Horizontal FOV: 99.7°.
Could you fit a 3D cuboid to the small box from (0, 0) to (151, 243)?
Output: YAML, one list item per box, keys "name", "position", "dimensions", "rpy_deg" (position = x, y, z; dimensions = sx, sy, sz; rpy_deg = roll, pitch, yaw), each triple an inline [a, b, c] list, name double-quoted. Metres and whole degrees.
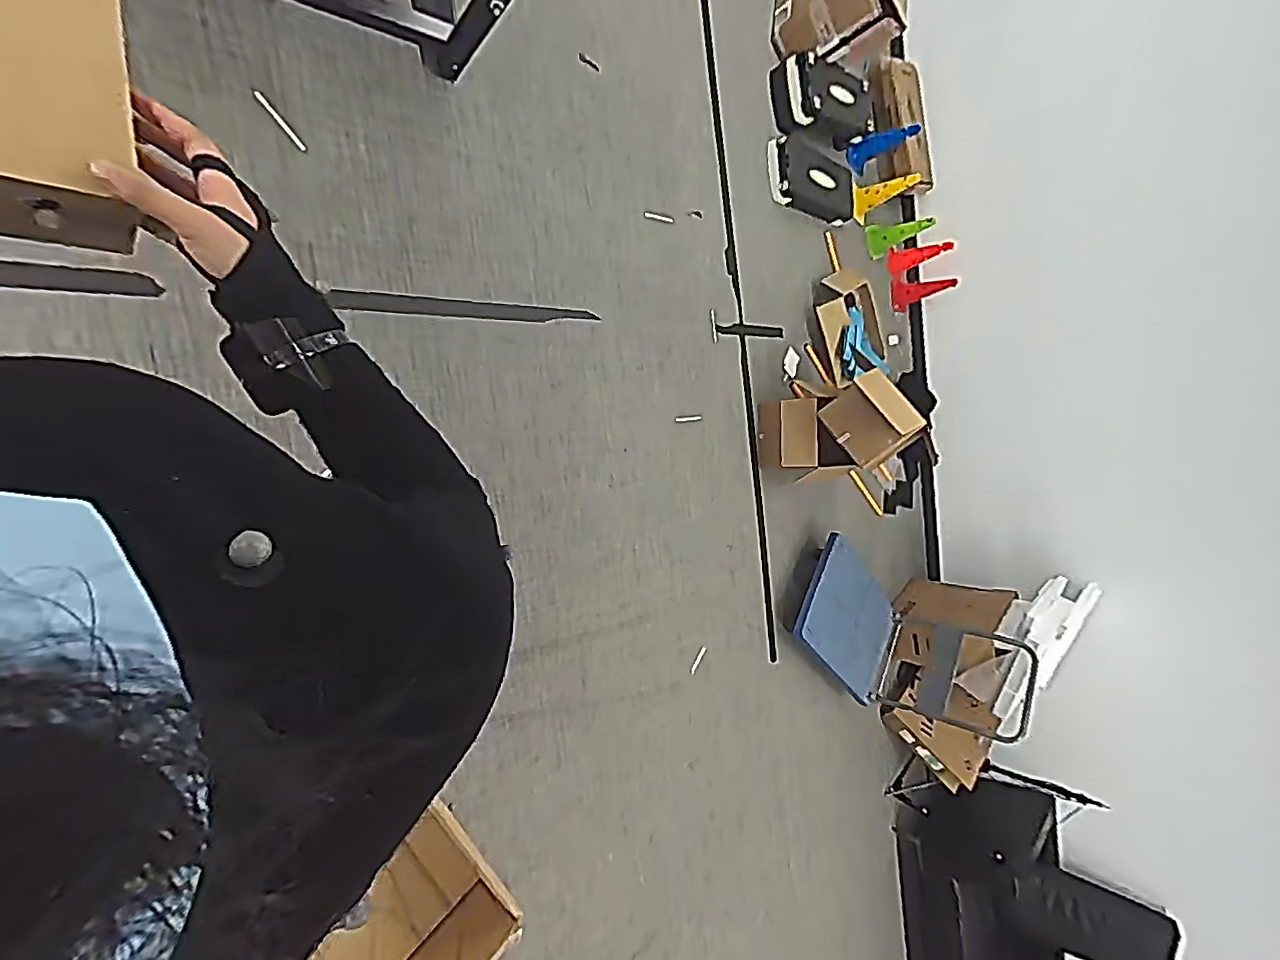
- name: "small box"
  position: [-0.455, -0.271, 0.359]
  dimensions: [0.179, 0.176, 0.168]
  rpy_deg: [-6, 100, -44]
